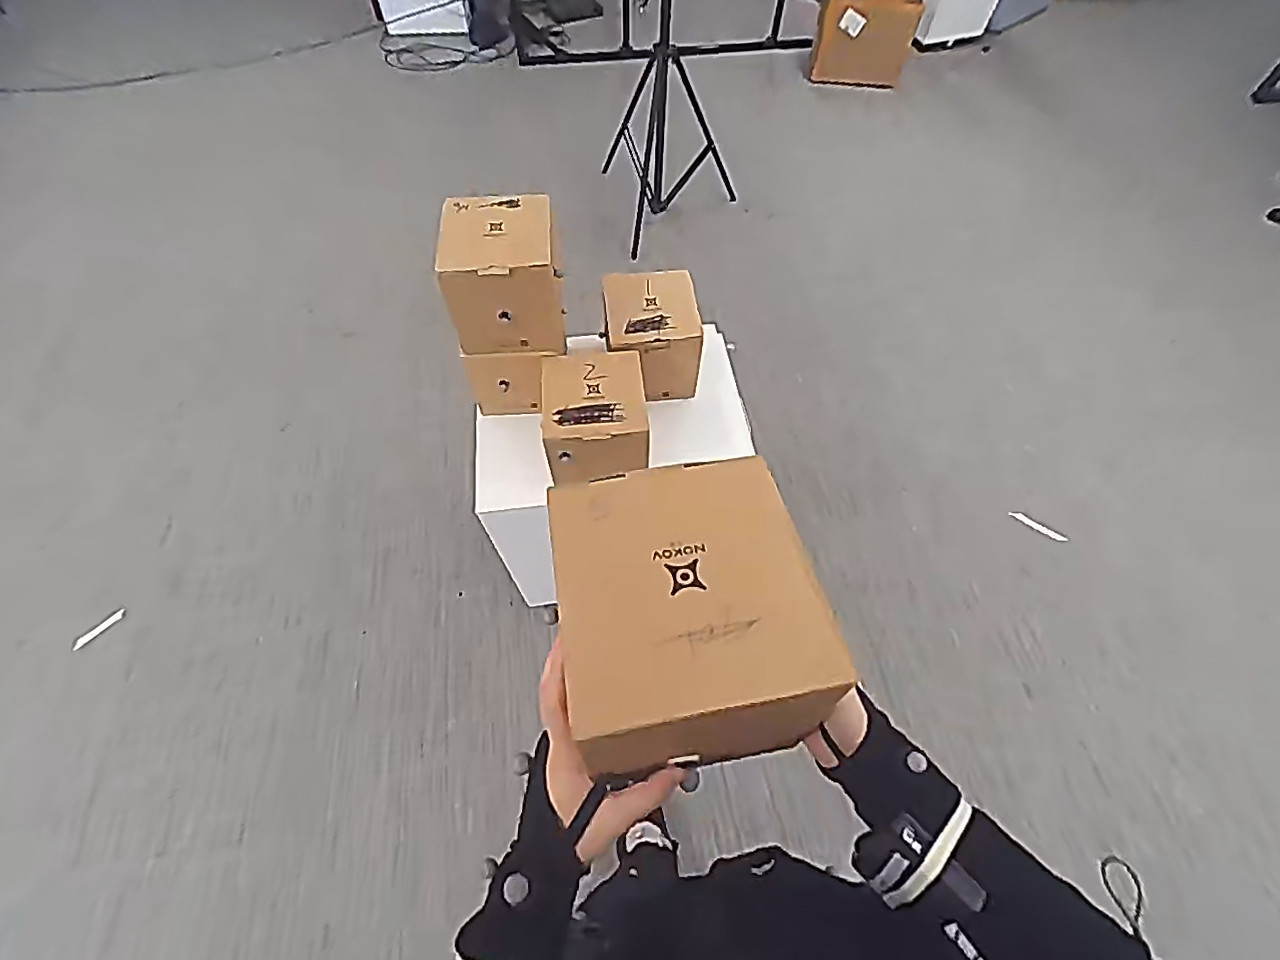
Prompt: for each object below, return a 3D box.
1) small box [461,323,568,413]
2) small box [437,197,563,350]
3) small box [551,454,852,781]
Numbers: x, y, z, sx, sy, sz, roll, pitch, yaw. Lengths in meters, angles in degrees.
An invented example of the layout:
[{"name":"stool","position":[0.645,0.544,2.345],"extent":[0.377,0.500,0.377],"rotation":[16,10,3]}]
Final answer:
[{"name":"small box","position":[-0.224,-0.238,1.015],"extent":[0.168,0.176,0.179],"rotation":[-3,60,-3]},{"name":"small box","position":[-0.215,-0.326,0.877],"extent":[0.168,0.176,0.179],"rotation":[-4,61,-4]},{"name":"small box","position":[0.028,0.106,0.413],"extent":[0.168,0.176,0.179],"rotation":[-8,53,-6]}]
